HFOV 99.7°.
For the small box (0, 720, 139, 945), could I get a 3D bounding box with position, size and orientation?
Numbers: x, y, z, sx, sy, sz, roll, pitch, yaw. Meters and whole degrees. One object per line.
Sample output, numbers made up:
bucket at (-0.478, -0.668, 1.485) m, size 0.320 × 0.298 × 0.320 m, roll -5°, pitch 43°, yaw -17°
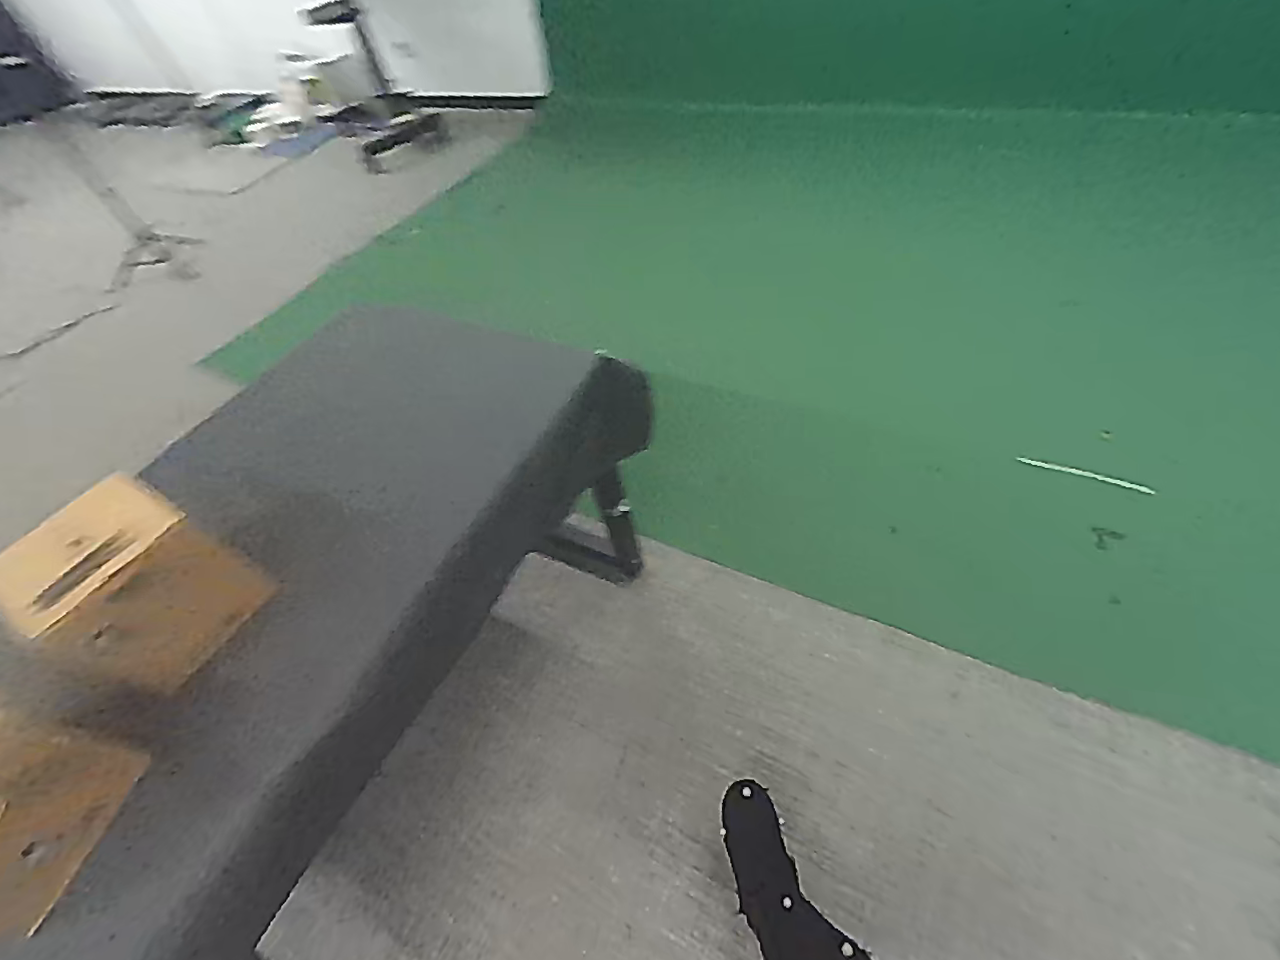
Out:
small box at (-0.659, 0.322, 0.511) m, size 0.179 × 0.176 × 0.168 m, roll 4°, pitch 51°, yaw 12°
